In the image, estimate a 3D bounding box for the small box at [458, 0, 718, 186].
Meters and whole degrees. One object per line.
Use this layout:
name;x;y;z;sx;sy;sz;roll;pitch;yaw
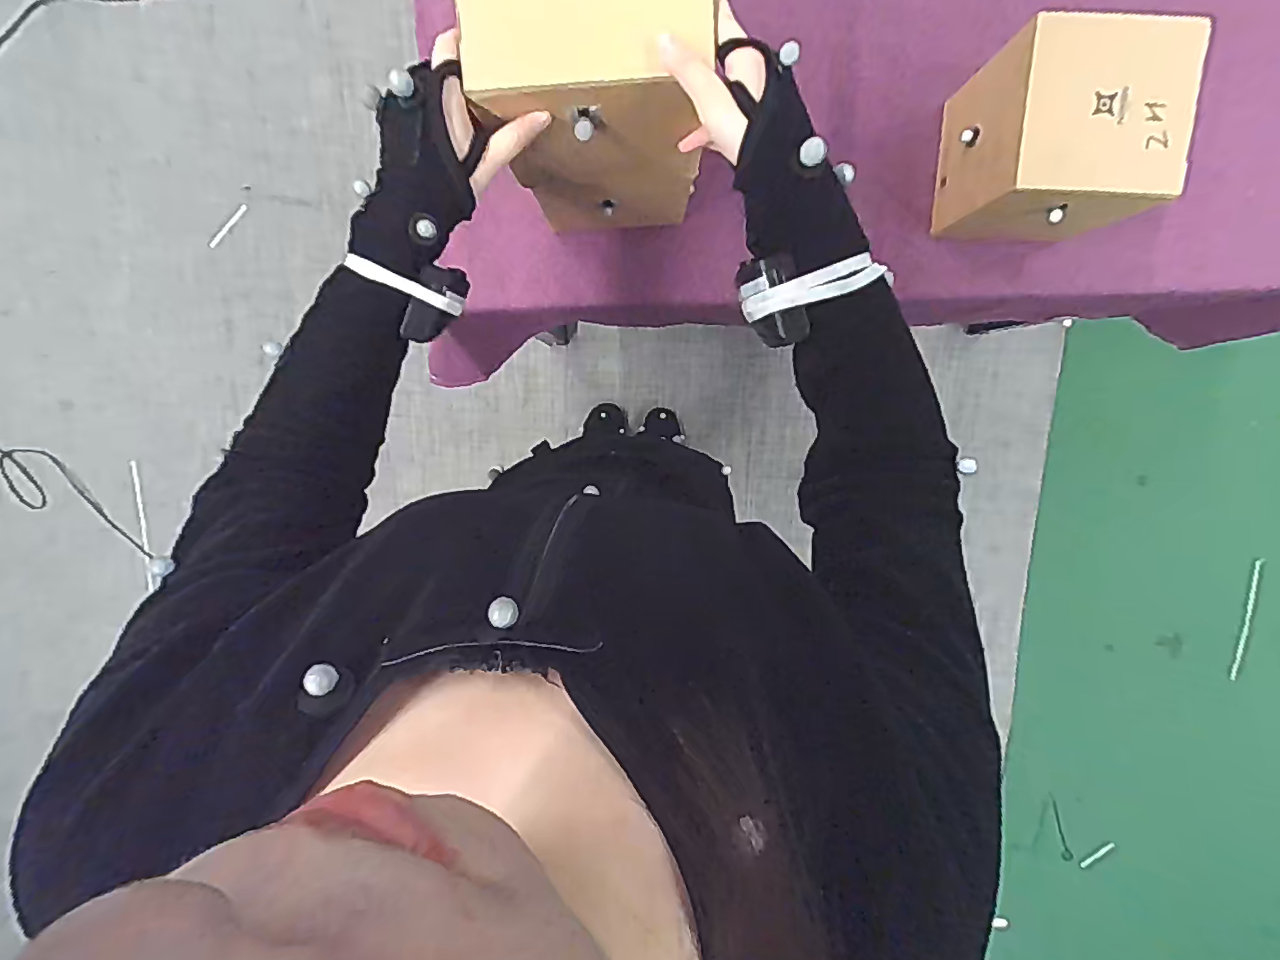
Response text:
small box;-0.034;-0.358;0.435;0.179;0.176;0.168;-2;98;4

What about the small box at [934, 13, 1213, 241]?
small box;0.471;-0.384;0.621;0.179;0.176;0.168;3;100;-1

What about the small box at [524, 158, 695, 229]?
small box;-0.035;-0.400;0.617;0.179;0.176;0.168;-3;99;1
